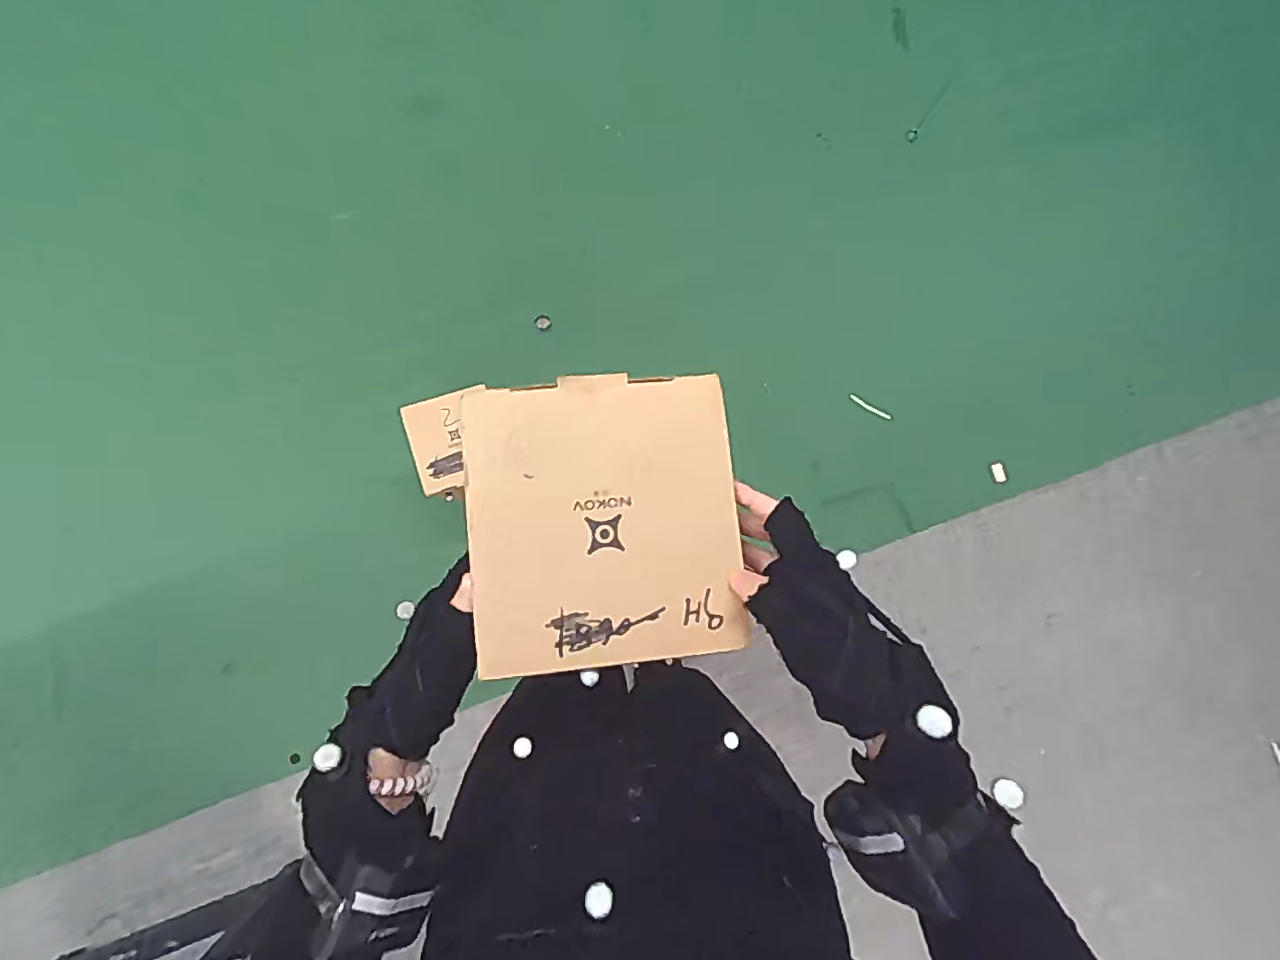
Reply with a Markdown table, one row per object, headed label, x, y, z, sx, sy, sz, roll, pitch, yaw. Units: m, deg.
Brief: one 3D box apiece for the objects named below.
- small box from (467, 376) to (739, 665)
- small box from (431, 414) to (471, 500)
| label | x | y | z | sx | sy | sz | roll | pitch | yaw |
| --- | --- | --- | --- | --- | --- | --- | --- | --- | --- |
| small box | -0.029 | 0.032 | 0.424 | 0.168 | 0.176 | 0.179 | -5 | 84 | -2 |
| small box | -0.361 | -0.058 | 1.261 | 0.168 | 0.176 | 0.179 | -15 | 87 | -4 |
